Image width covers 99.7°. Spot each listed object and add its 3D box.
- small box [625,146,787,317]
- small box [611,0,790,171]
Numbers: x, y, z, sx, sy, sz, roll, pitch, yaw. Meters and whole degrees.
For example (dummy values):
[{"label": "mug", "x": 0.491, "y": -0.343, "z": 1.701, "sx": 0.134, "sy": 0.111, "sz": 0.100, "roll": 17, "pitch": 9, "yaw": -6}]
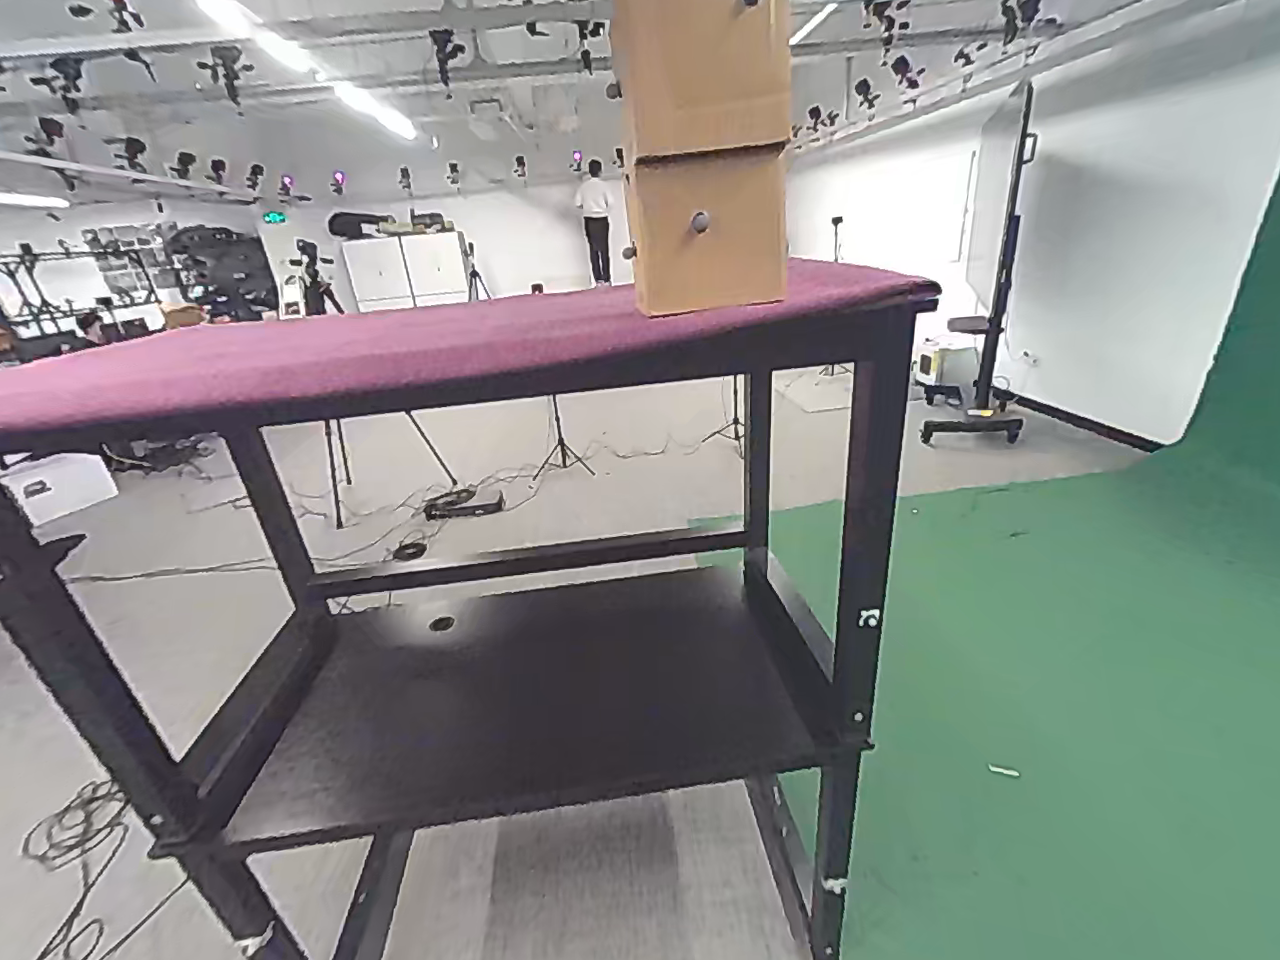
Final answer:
[{"label": "small box", "x": 0.081, "y": -0.311, "z": 0.702, "sx": 0.179, "sy": 0.176, "sz": 0.168, "roll": -8, "pitch": 22, "yaw": -2}, {"label": "small box", "x": 0.065, "y": -0.456, "z": 0.629, "sx": 0.179, "sy": 0.176, "sz": 0.168, "roll": -7, "pitch": 22, "yaw": -2}]
